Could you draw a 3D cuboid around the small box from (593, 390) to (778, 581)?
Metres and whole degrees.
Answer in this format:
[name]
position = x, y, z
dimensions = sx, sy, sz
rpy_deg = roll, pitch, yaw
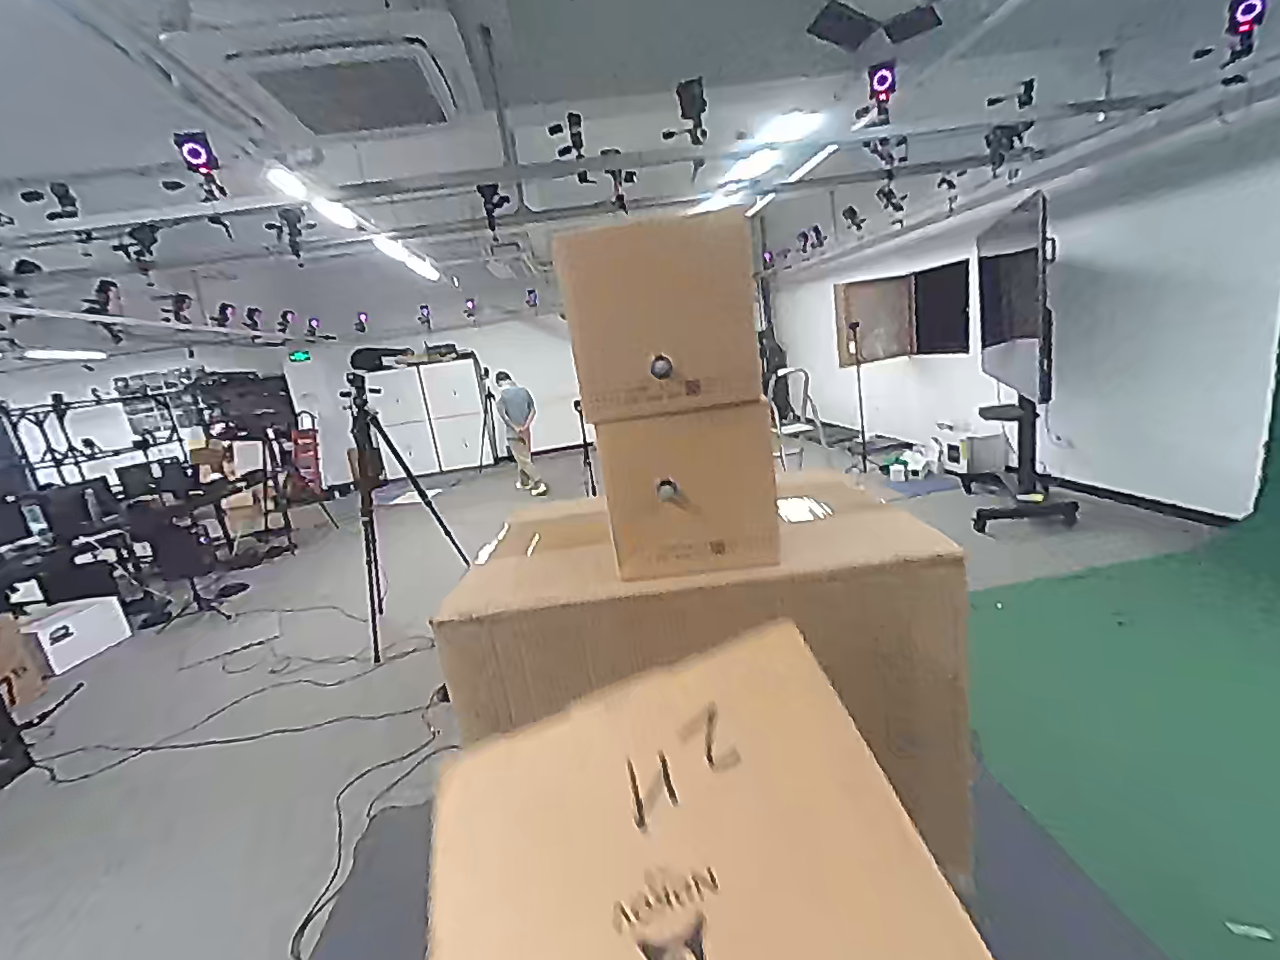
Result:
[small box]
position = 0.053, 0.004, 0.602
dimensions = 0.168, 0.176, 0.179
rpy_deg = -7, 15, 5
